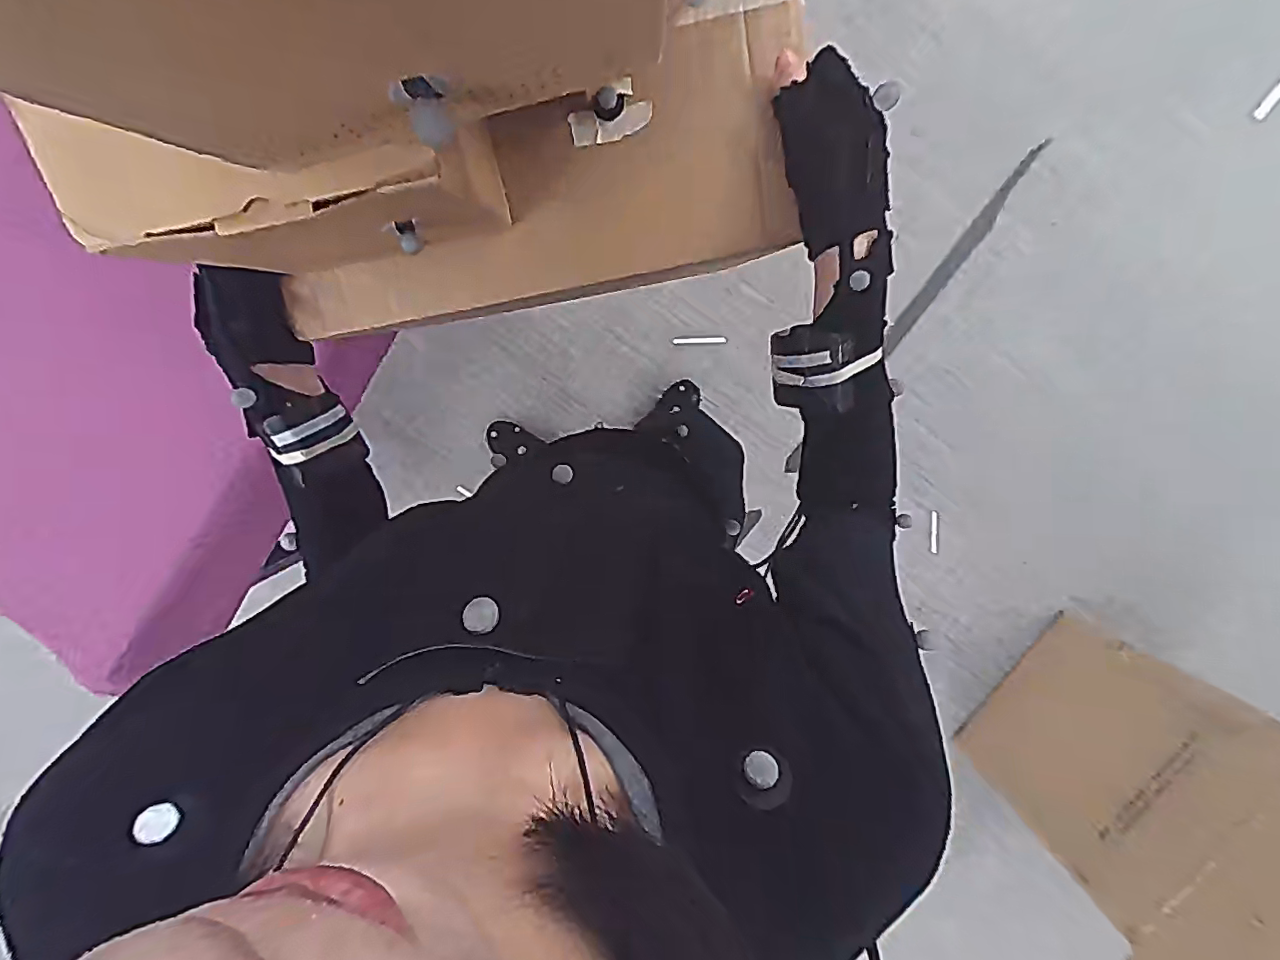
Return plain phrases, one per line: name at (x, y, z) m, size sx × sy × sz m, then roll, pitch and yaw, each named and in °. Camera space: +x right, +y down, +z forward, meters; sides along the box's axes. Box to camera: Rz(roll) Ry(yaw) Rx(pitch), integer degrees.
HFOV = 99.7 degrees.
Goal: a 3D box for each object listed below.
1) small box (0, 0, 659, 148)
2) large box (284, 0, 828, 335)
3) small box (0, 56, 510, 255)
small box at (-0.086, -0.198, 0.115) m, size 0.179 × 0.176 × 0.168 m, roll -11°, pitch 108°, yaw 4°
large box at (-0.089, -0.336, 0.499) m, size 0.408 × 0.320 × 0.320 m, roll -11°, pitch 109°, yaw 1°
small box at (-0.177, -0.223, 0.279) m, size 0.168 × 0.176 × 0.179 m, roll -11°, pitch 107°, yaw 0°
